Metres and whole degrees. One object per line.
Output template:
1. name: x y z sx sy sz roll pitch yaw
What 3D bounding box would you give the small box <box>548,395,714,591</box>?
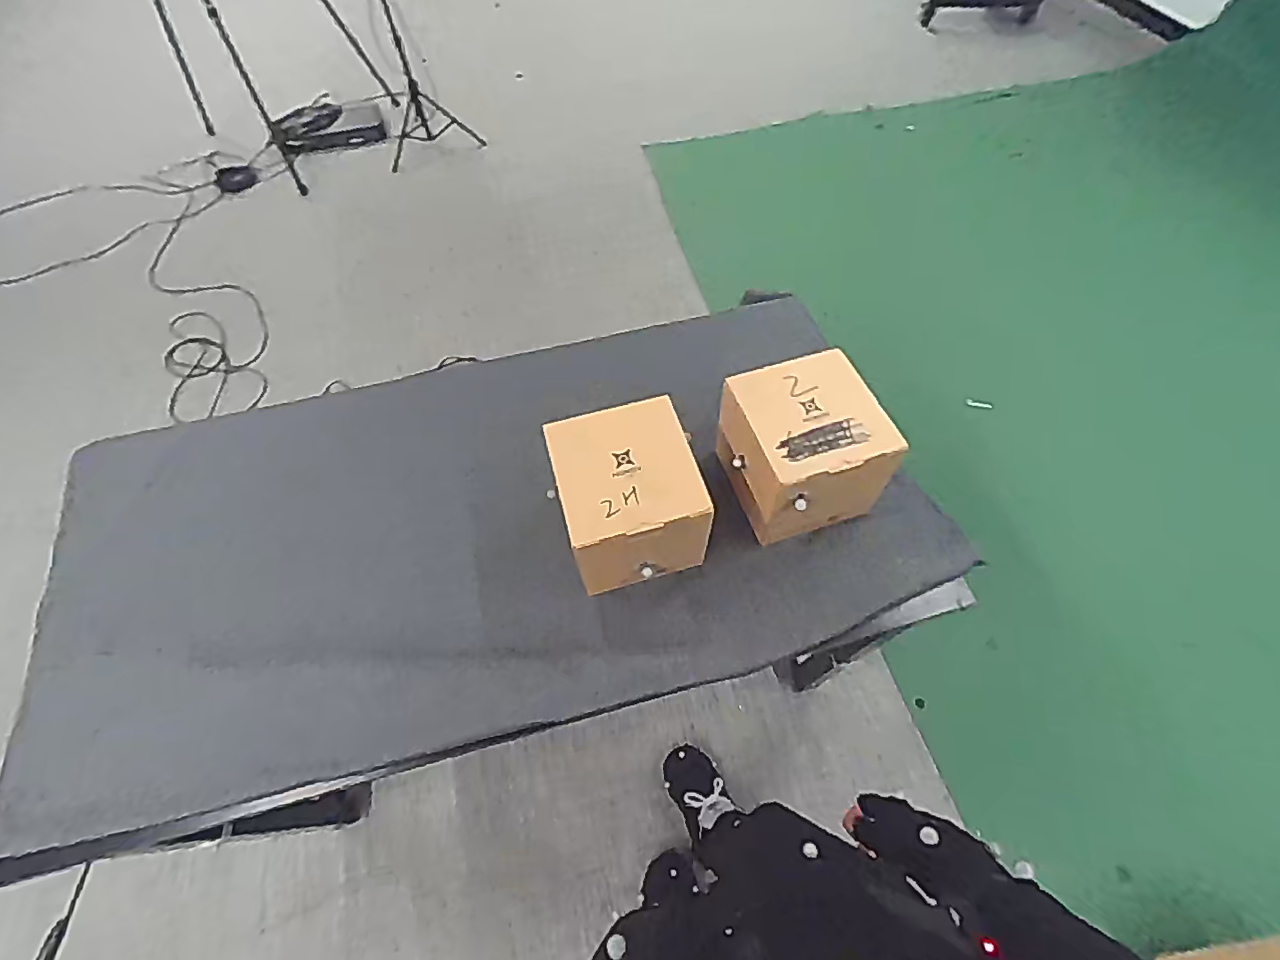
1. small box: -0.014 0.021 0.707 0.168 0.176 0.179 -15 61 -6
